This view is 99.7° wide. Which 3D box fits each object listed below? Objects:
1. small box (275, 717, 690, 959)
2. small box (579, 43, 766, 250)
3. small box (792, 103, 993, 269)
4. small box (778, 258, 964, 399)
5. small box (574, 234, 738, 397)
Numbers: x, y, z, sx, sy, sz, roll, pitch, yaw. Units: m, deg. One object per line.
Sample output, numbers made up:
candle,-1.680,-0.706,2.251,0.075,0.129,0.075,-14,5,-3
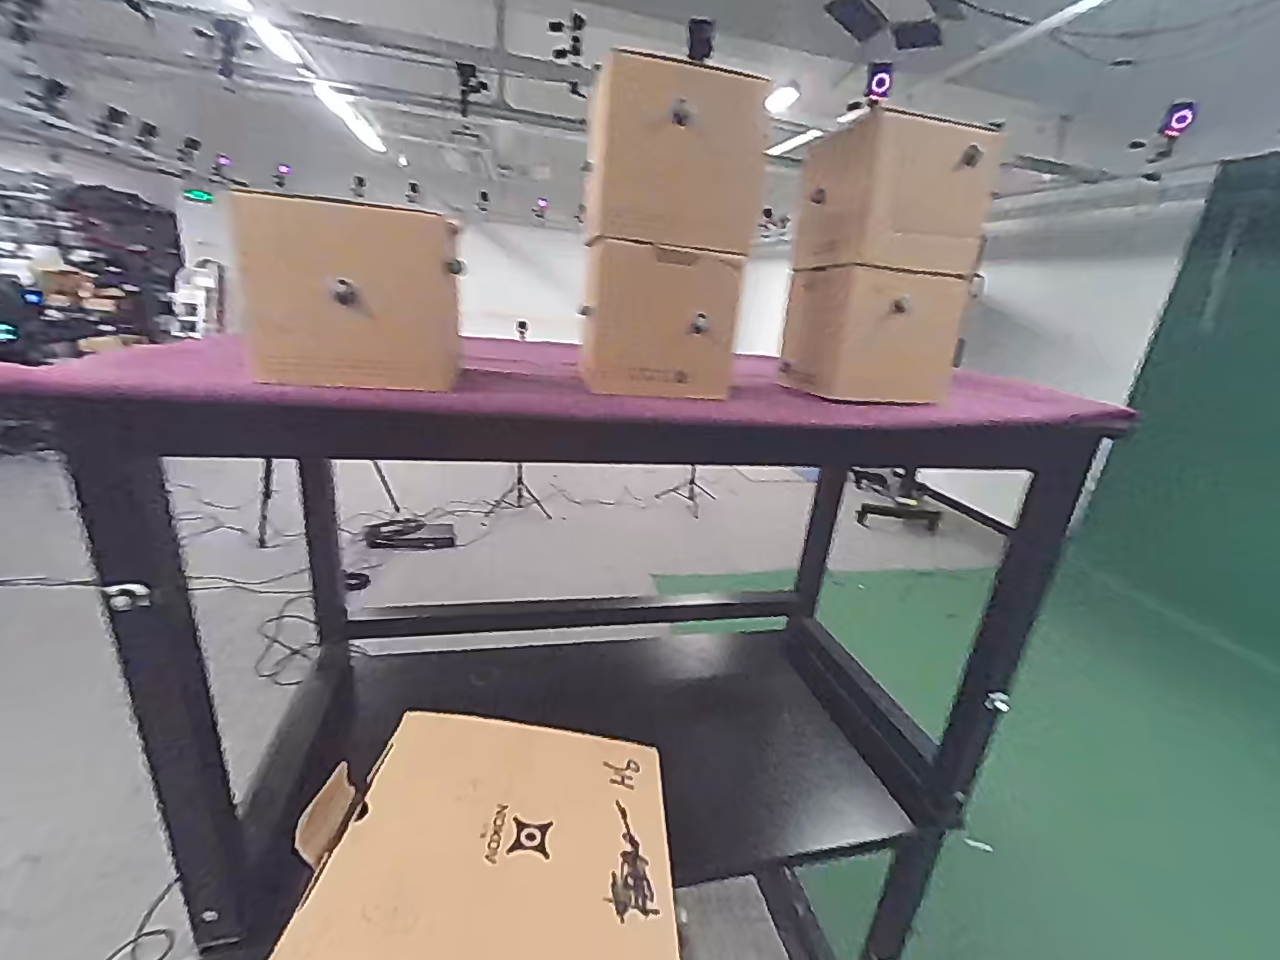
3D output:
small box,-0.079,0.268,0.304,0.179,0.176,0.168,11,14,-5
small box,0.023,-0.358,0.626,0.179,0.176,0.168,2,20,-12
small box,0.318,-0.364,0.720,0.179,0.176,0.168,0,17,-14
small box,0.309,-0.207,0.763,0.179,0.176,0.168,0,17,-15
small box,0.008,-0.202,0.678,0.168,0.176,0.179,2,18,-13
